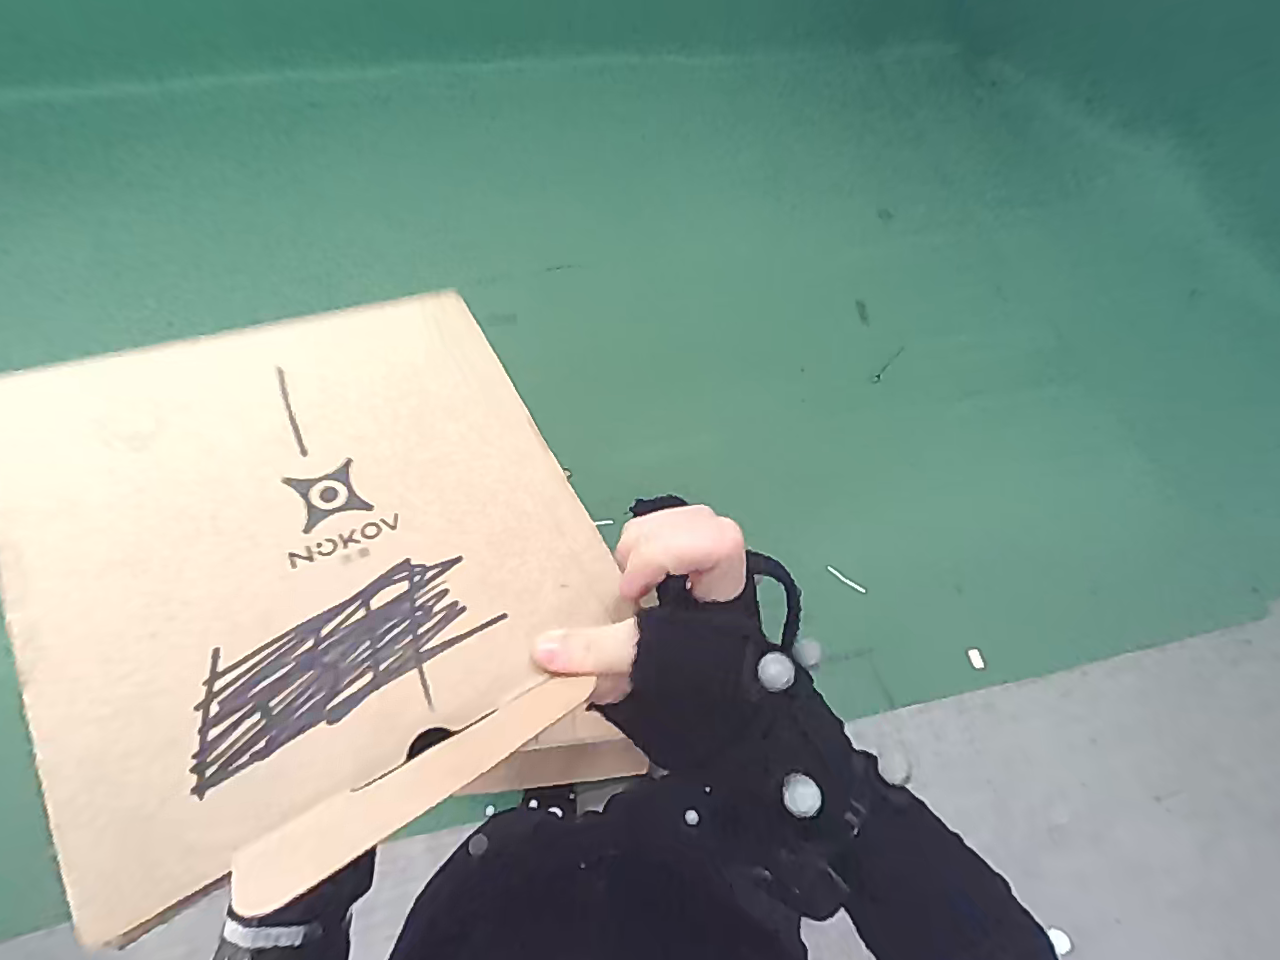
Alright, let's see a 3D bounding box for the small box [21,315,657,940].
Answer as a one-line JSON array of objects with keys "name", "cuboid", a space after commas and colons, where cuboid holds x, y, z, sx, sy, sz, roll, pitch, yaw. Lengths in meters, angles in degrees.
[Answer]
[{"name": "small box", "cuboid": [-0.122, 0.056, 0.261, 0.168, 0.176, 0.179, -23, 70, -29]}]
